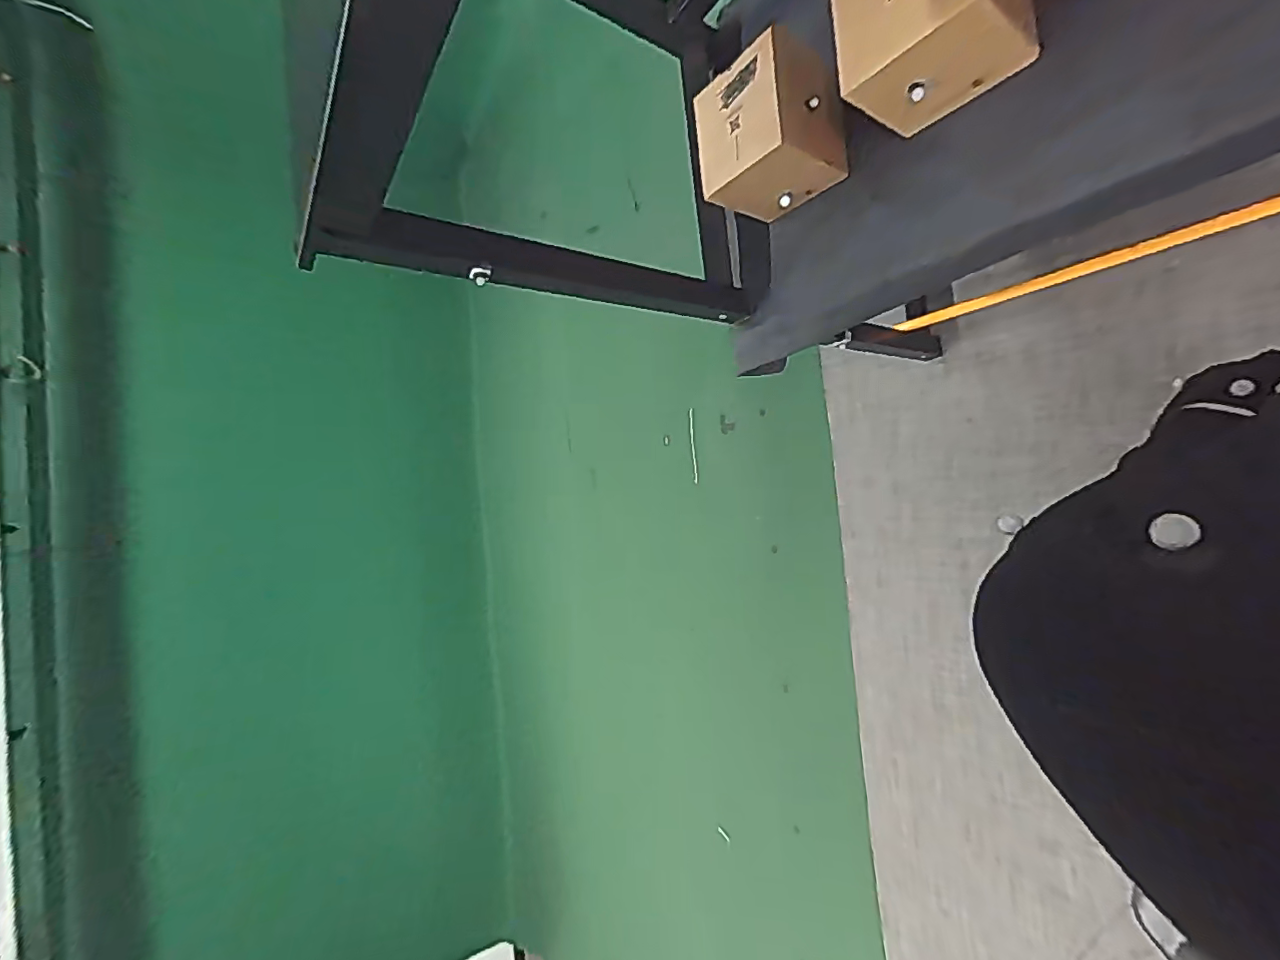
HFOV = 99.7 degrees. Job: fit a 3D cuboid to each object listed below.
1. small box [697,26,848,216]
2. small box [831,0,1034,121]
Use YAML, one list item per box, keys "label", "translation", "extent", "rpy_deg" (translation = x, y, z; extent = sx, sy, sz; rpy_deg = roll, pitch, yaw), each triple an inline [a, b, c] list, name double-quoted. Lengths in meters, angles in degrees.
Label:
- label: "small box"
  translation: [0.216, -0.565, 0.882]
  extent: [0.168, 0.176, 0.179]
  rpy_deg: [-8, 87, 54]
- label: "small box"
  translation: [0.365, -0.591, 0.679]
  extent: [0.168, 0.176, 0.179]
  rpy_deg: [-9, 86, 54]
